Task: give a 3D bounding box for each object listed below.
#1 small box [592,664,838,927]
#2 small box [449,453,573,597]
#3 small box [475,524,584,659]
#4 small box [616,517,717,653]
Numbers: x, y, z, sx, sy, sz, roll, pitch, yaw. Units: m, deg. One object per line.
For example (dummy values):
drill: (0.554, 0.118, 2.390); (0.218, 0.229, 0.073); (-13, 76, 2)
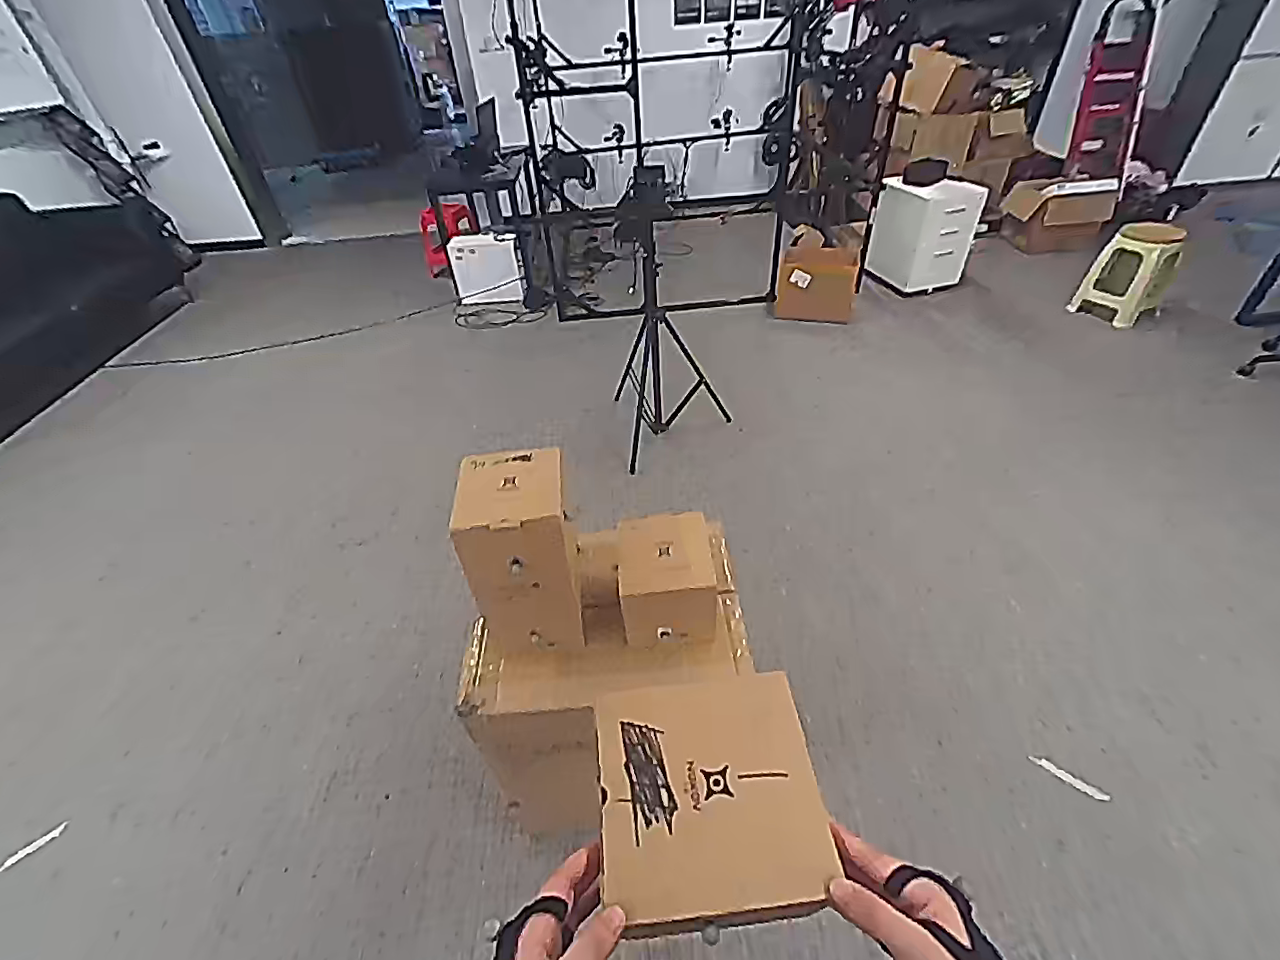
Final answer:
small box: (0.055, 0.291, 0.497); (0.179, 0.176, 0.168); (-6, 47, -2)
small box: (-0.205, 0.081, 0.906); (0.168, 0.176, 0.179); (-6, 41, -4)
small box: (-0.196, 0.207, 1.010); (0.168, 0.176, 0.179); (-5, 41, -3)
small box: (0.047, 0.194, 1.005); (0.168, 0.176, 0.179); (-7, 42, 1)
